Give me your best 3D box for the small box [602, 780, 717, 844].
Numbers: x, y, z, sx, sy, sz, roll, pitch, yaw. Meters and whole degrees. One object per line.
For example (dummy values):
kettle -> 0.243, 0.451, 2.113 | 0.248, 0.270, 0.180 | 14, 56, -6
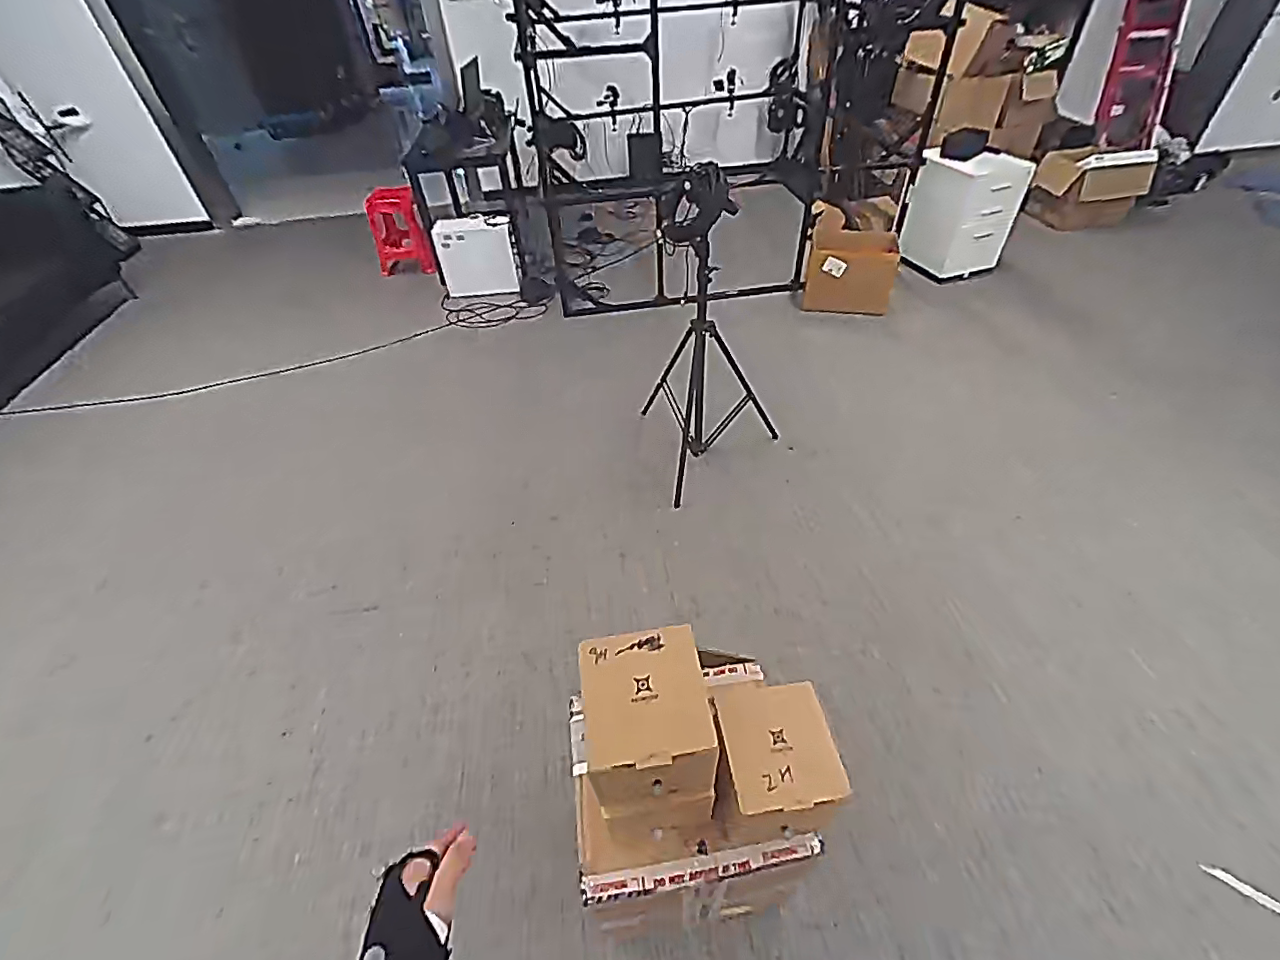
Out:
small box -> 0.021, 0.462, 0.881 | 0.168, 0.176, 0.179 | -10, 47, -5

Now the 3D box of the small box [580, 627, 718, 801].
small box -> 0.012, 0.339, 0.772 | 0.168, 0.176, 0.179 | -9, 47, -3

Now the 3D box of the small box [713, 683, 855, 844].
small box -> 0.214, 0.456, 0.873 | 0.168, 0.176, 0.179 | -7, 46, -5
